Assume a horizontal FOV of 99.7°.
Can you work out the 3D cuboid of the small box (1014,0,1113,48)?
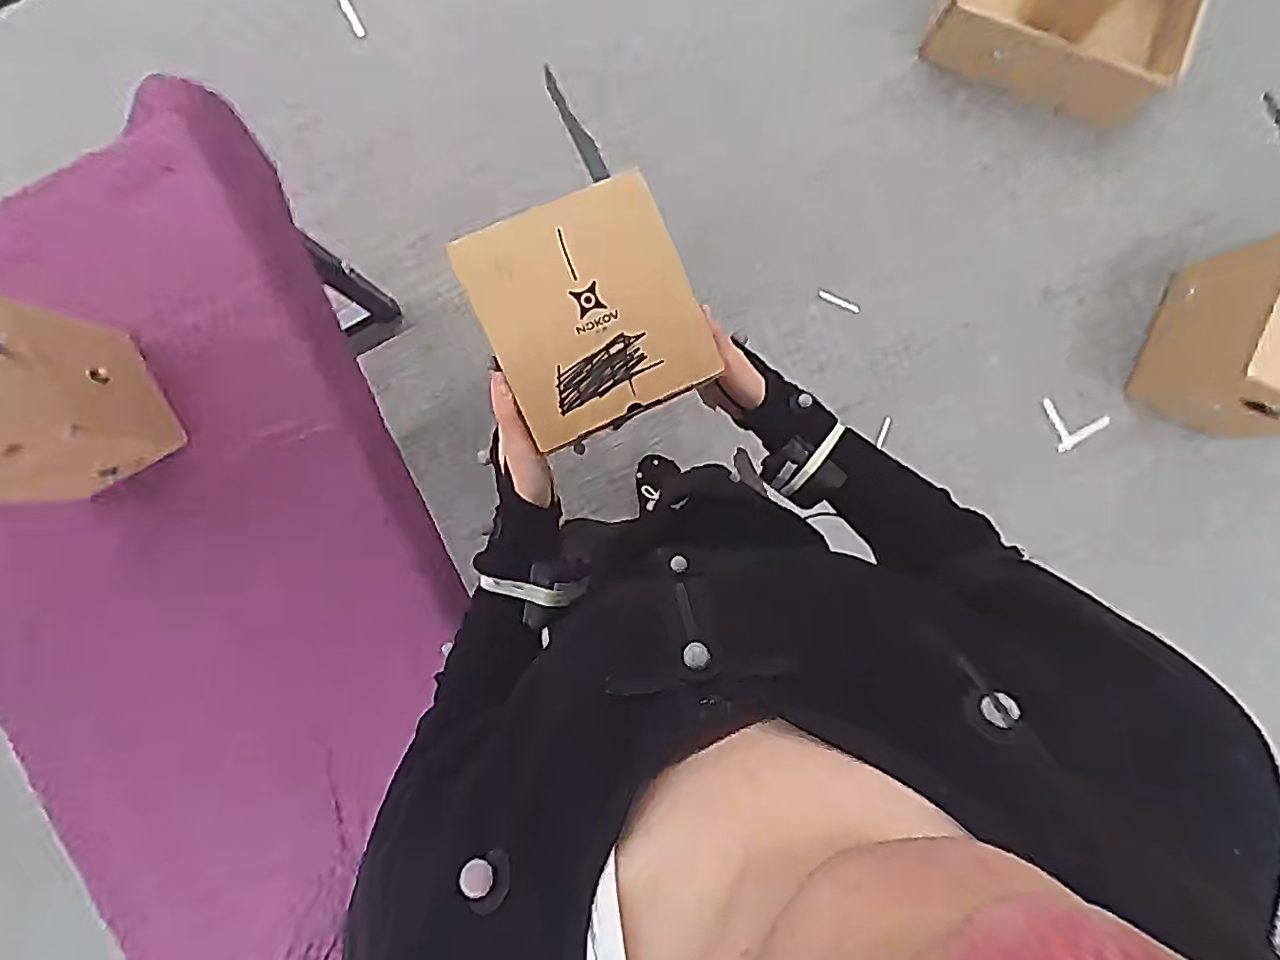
[{"bbox_3d":[1.121,-1.290,1.402,0.168,0.176,0.179,22,89,-1],"label":"small box"}]

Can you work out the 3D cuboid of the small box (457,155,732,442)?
[{"bbox_3d":[-0.040,-0.146,0.497,0.168,0.176,0.179,-25,96,-6],"label":"small box"}]
